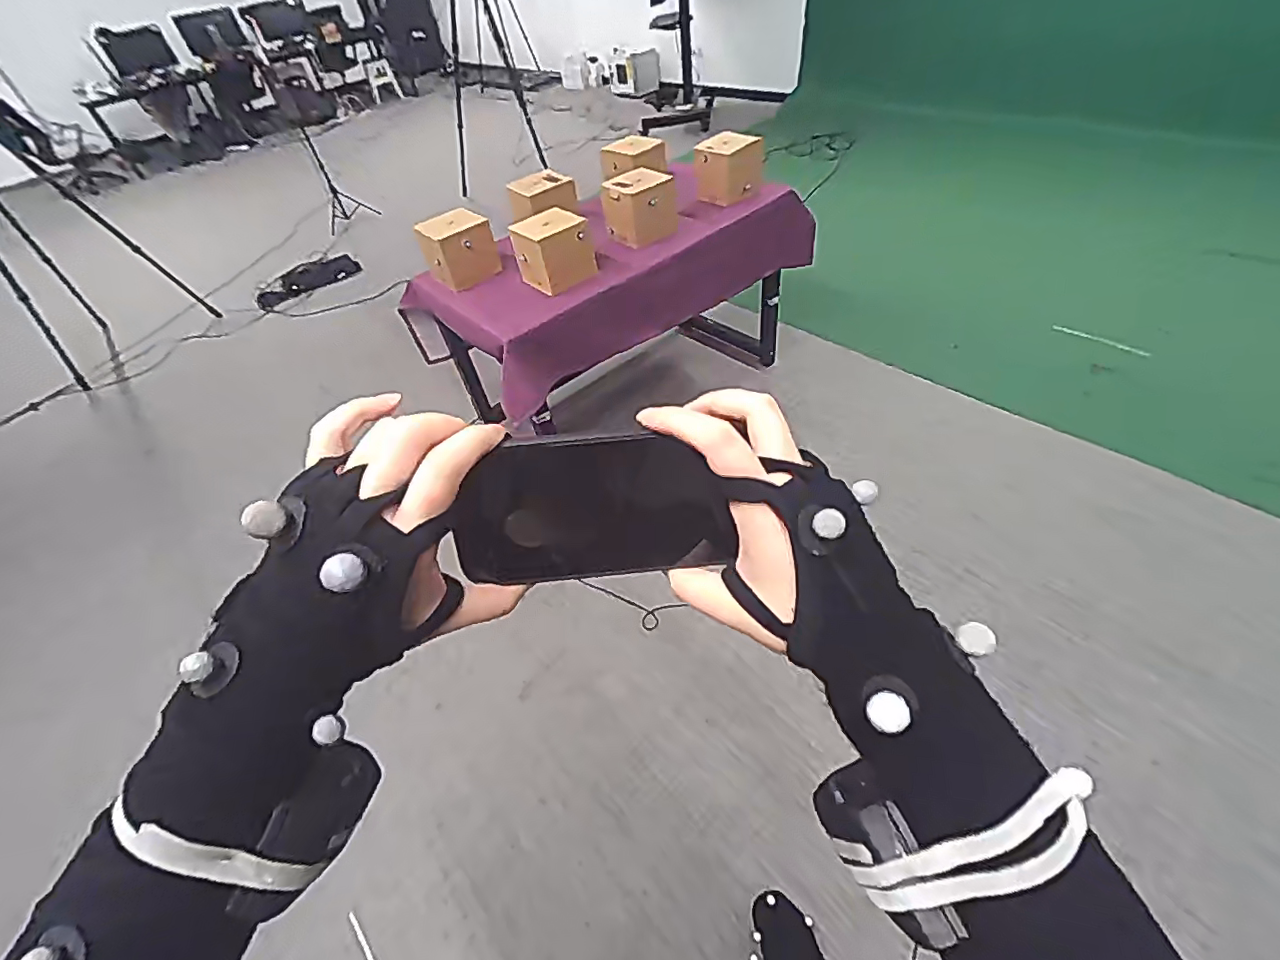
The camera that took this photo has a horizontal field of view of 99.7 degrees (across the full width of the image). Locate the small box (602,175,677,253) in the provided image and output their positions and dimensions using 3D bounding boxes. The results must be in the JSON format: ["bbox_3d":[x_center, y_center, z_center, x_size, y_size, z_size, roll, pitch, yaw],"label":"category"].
[{"bbox_3d":[0.005,-0.855,1.743,0.179,0.176,0.168,-33,50,-22],"label":"small box"}]

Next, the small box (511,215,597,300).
[{"bbox_3d":[-0.247,-0.656,1.598,0.179,0.176,0.168,-34,50,-23],"label":"small box"}]

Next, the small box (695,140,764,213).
[{"bbox_3d":[0.309,-1.057,1.883,0.179,0.176,0.168,-37,51,-24],"label":"small box"}]

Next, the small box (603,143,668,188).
[{"bbox_3d":[-0.012,-1.119,1.995,0.168,0.176,0.179,-39,53,-24],"label":"small box"}]
